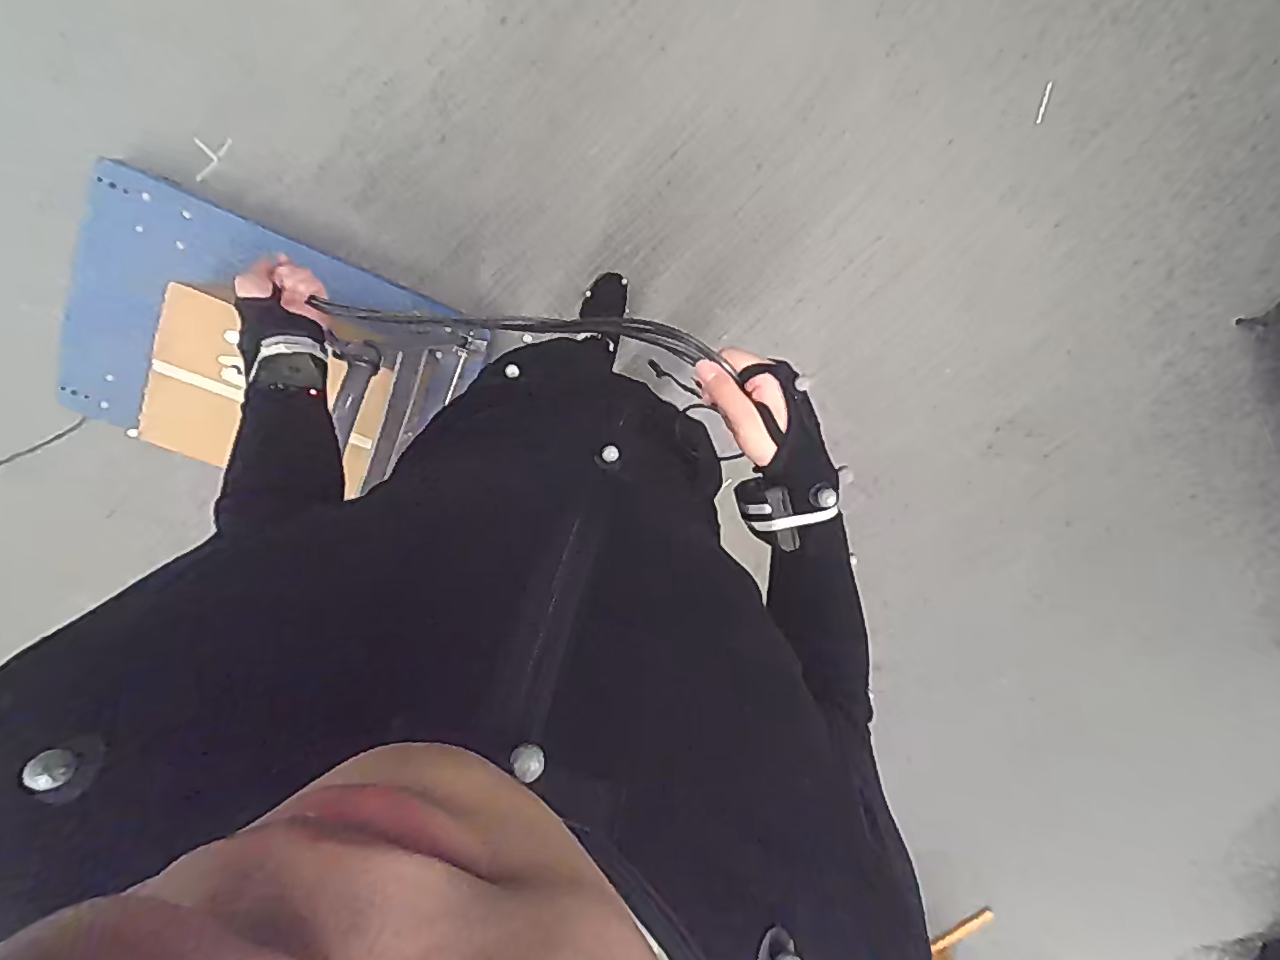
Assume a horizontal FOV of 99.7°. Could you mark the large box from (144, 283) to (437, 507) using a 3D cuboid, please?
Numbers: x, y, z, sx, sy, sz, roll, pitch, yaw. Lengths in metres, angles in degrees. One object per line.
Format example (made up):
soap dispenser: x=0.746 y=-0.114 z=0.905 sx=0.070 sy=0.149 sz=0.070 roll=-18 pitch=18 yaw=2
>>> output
large box: x=-0.710 y=-0.189 z=1.163 sx=0.408 sy=0.320 sz=0.320 roll=22 pitch=104 yaw=-12
